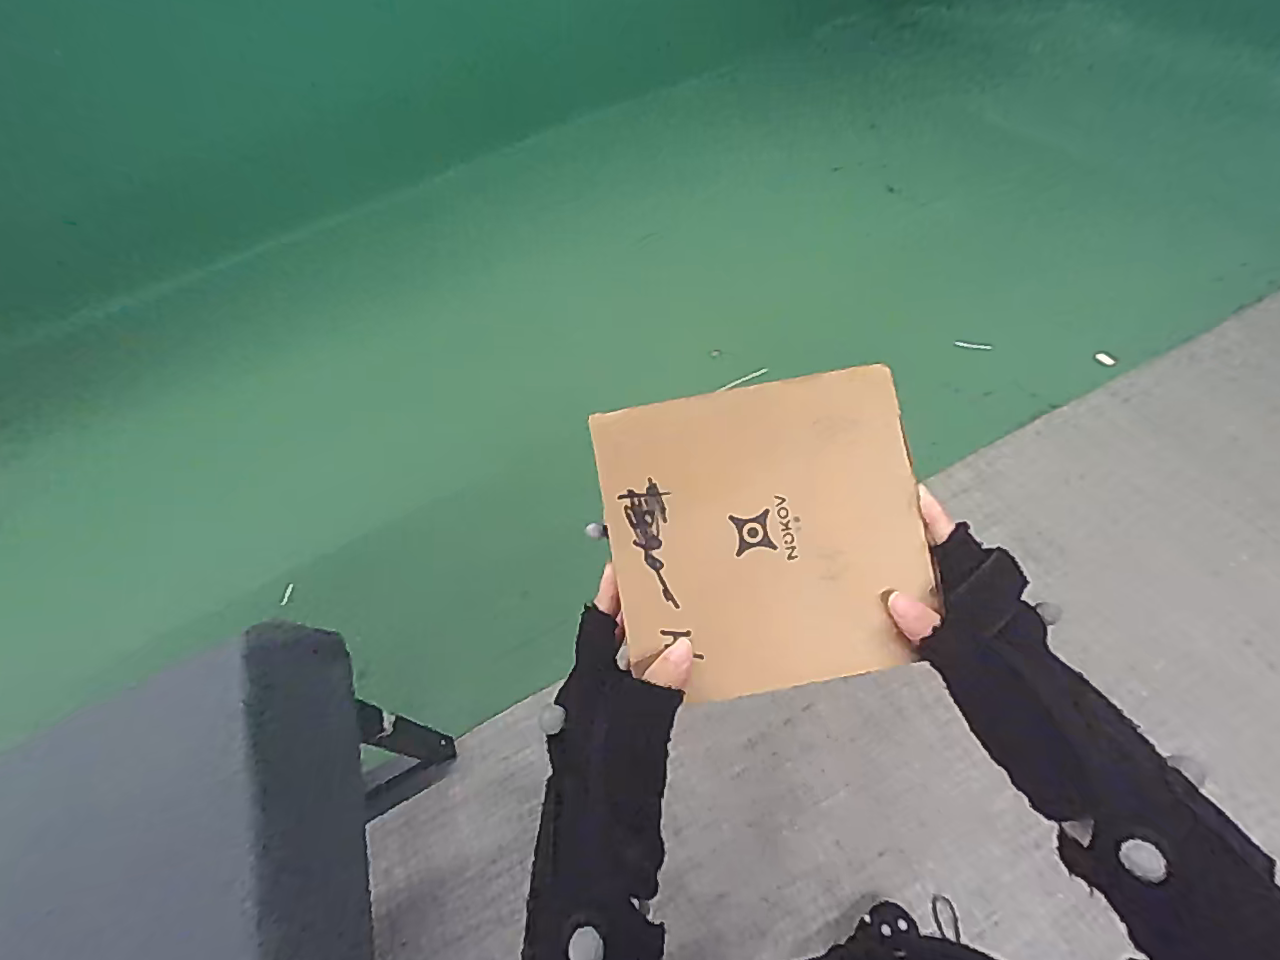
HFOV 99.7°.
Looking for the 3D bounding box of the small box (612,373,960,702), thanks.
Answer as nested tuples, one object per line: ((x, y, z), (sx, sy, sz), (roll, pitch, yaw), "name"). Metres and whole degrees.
((0.079, 0.039, 0.385), (0.179, 0.176, 0.168), (-10, 82, -1), "small box")
